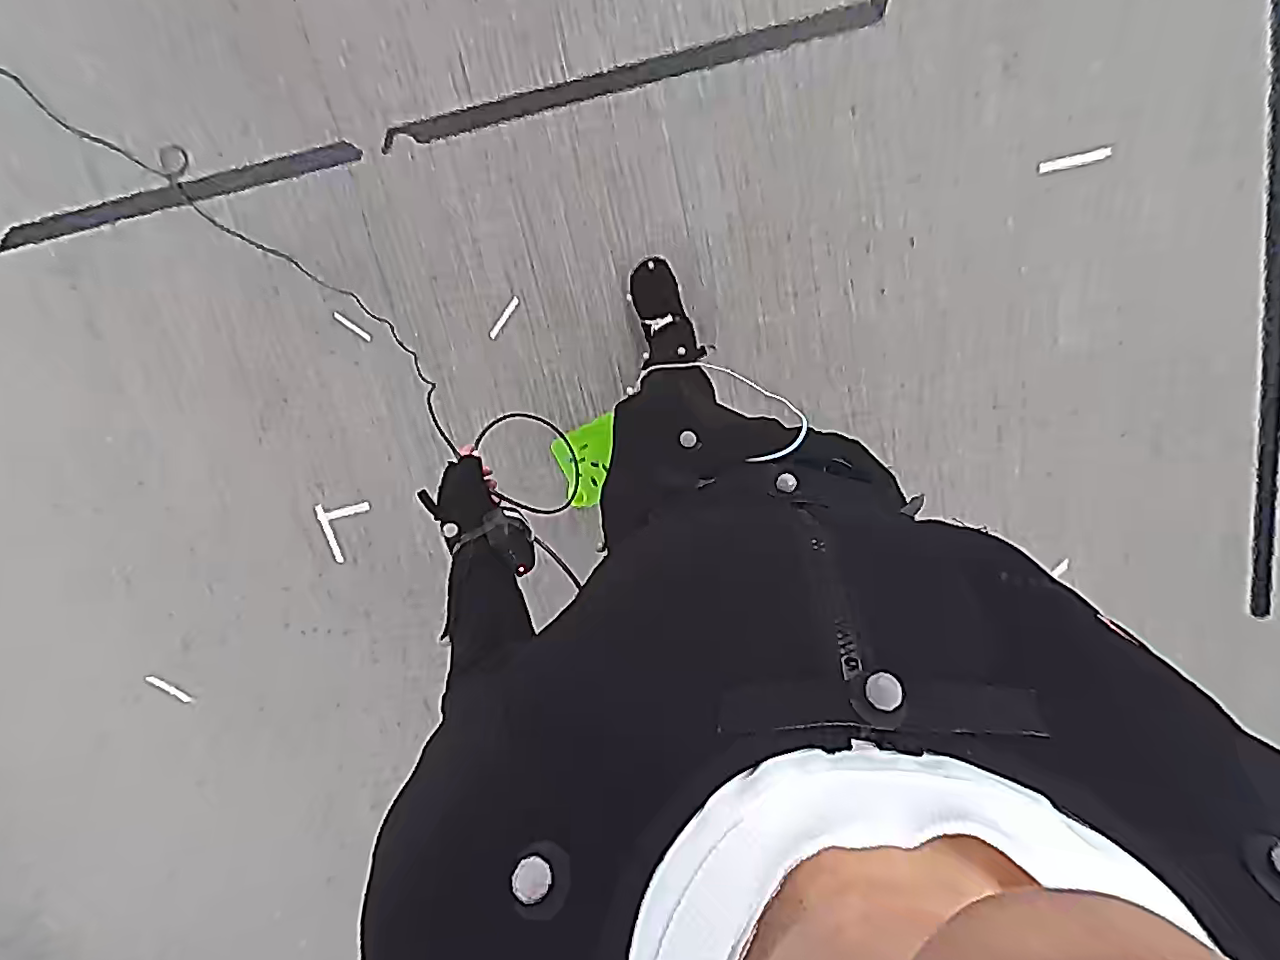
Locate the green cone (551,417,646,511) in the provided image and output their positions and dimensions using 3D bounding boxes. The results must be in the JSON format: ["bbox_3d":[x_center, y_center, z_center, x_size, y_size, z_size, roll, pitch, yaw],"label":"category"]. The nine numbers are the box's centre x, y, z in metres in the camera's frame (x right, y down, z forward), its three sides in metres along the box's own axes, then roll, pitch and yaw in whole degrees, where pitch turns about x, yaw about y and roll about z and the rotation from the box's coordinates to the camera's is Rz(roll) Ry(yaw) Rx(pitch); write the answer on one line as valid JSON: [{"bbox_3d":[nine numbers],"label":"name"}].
[{"bbox_3d":[-0.122,-0.003,1.255,0.202,0.368,0.200,-27,100,10],"label":"green cone"}]
